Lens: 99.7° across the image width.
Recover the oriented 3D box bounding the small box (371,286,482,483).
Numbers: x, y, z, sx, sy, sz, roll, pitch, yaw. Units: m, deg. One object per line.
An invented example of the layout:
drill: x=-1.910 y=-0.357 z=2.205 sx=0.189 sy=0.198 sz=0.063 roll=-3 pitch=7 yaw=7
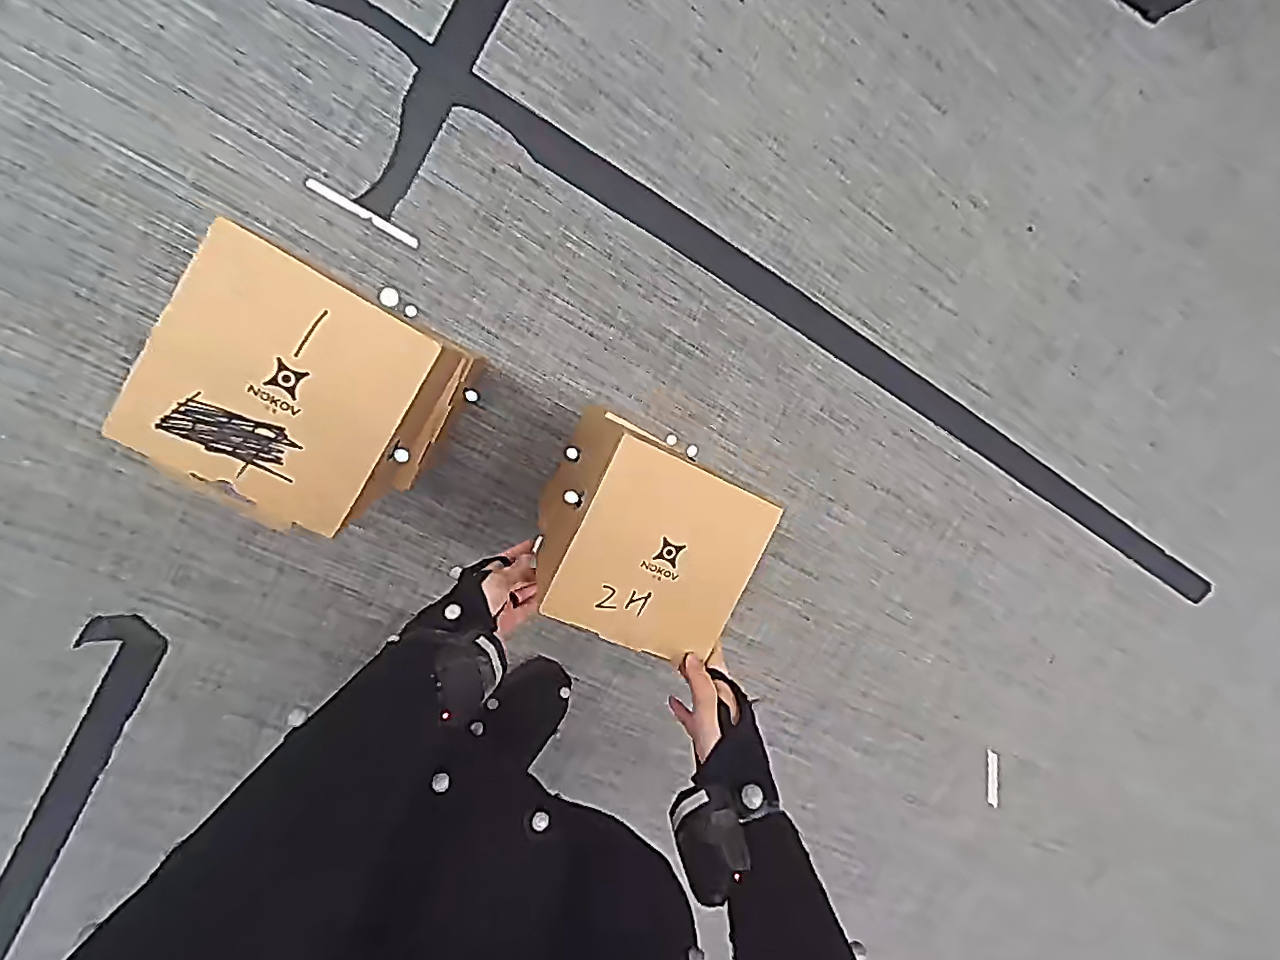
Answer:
small box: x=-0.298 y=-0.120 z=0.623 sx=0.179 sy=0.176 sz=0.168 roll=28 pitch=95 yaw=-16

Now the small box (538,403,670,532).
small box: x=-0.018 y=0.009 z=0.707 sx=0.179 sy=0.176 sz=0.168 roll=28 pitch=95 yaw=-16

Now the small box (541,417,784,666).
small box: x=0.007 y=0.048 z=0.547 sx=0.168 sy=0.176 sz=0.179 roll=26 pitch=95 yaw=-14

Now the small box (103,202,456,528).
small box: x=-0.275 y=-0.089 z=0.464 sx=0.168 sy=0.176 sz=0.179 roll=31 pitch=93 yaw=-17
